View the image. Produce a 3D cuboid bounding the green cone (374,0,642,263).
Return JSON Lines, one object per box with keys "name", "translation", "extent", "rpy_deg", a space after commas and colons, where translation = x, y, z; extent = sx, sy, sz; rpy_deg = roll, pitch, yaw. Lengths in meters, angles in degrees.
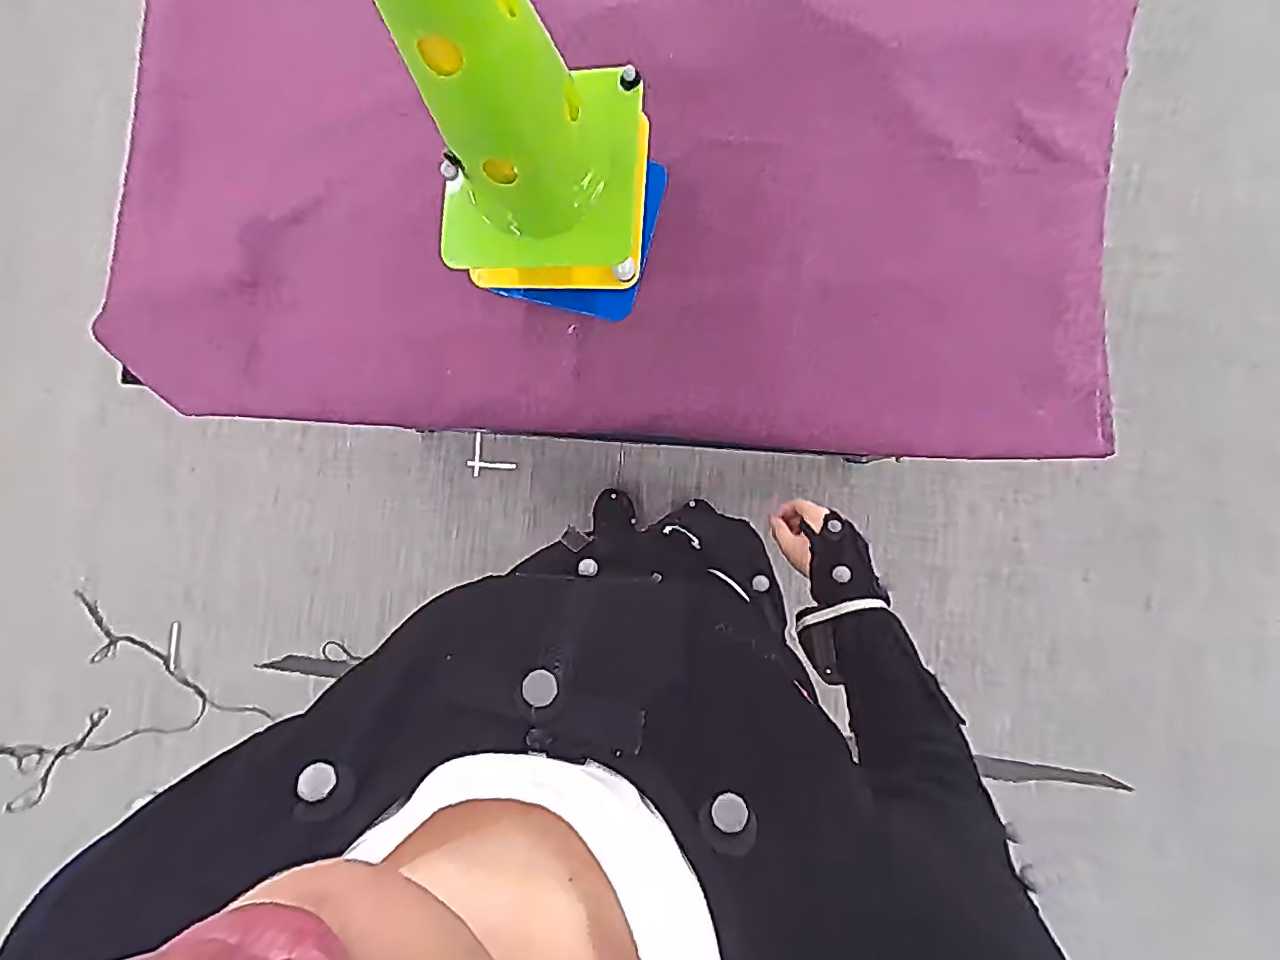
{"name": "green cone", "translation": [-0.128, -0.323, 0.361], "extent": [0.200, 0.368, 0.202], "rpy_deg": [2, 87, 10]}
